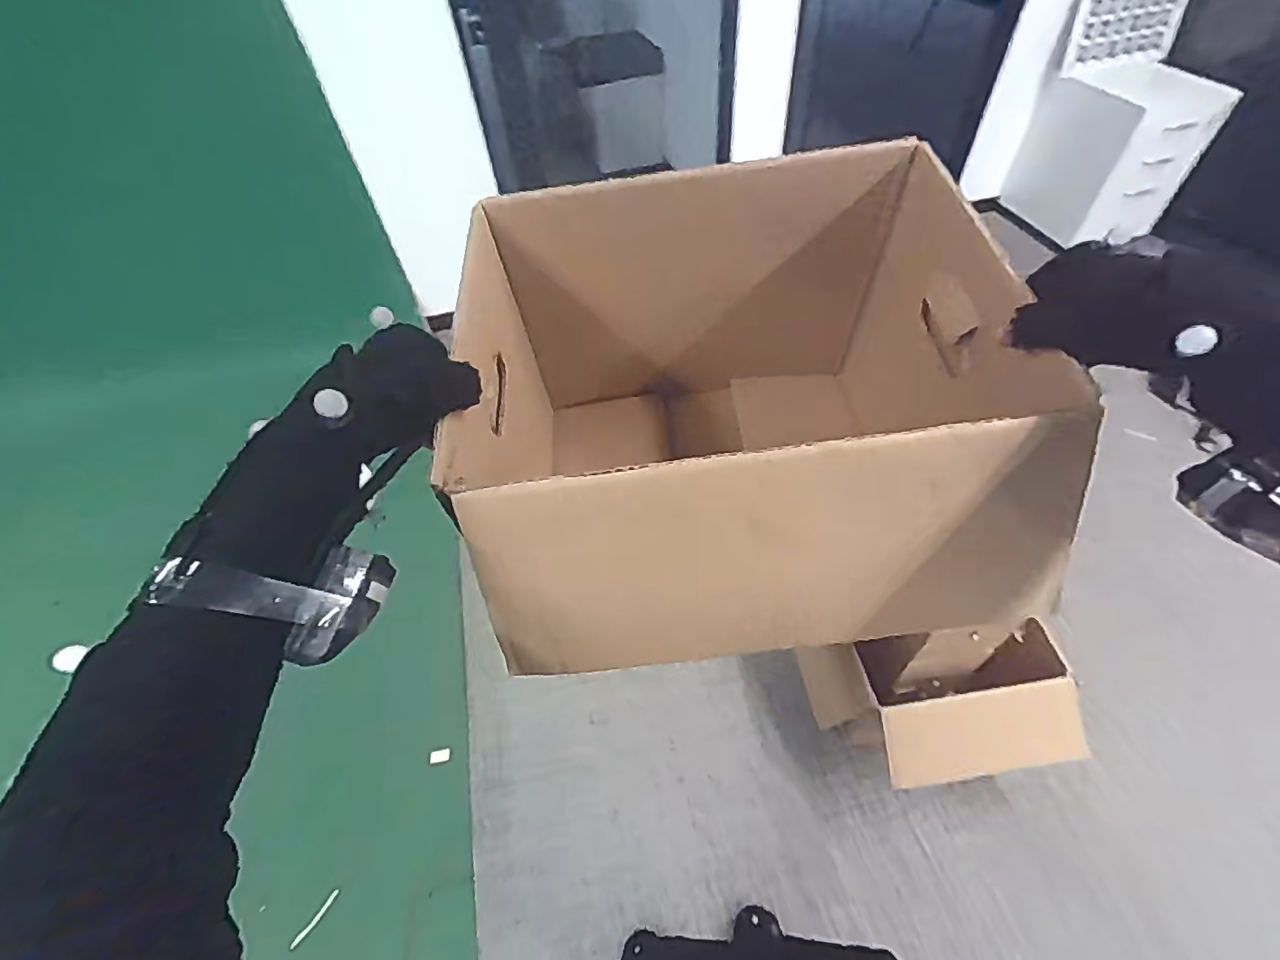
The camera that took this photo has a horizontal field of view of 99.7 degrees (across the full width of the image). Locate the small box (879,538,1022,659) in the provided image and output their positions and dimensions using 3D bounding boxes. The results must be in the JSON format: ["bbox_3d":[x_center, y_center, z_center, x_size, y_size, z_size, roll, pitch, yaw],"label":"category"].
[{"bbox_3d":[0.597,0.241,1.075,0.179,0.176,0.168,-11,52,-1],"label":"small box"}]
